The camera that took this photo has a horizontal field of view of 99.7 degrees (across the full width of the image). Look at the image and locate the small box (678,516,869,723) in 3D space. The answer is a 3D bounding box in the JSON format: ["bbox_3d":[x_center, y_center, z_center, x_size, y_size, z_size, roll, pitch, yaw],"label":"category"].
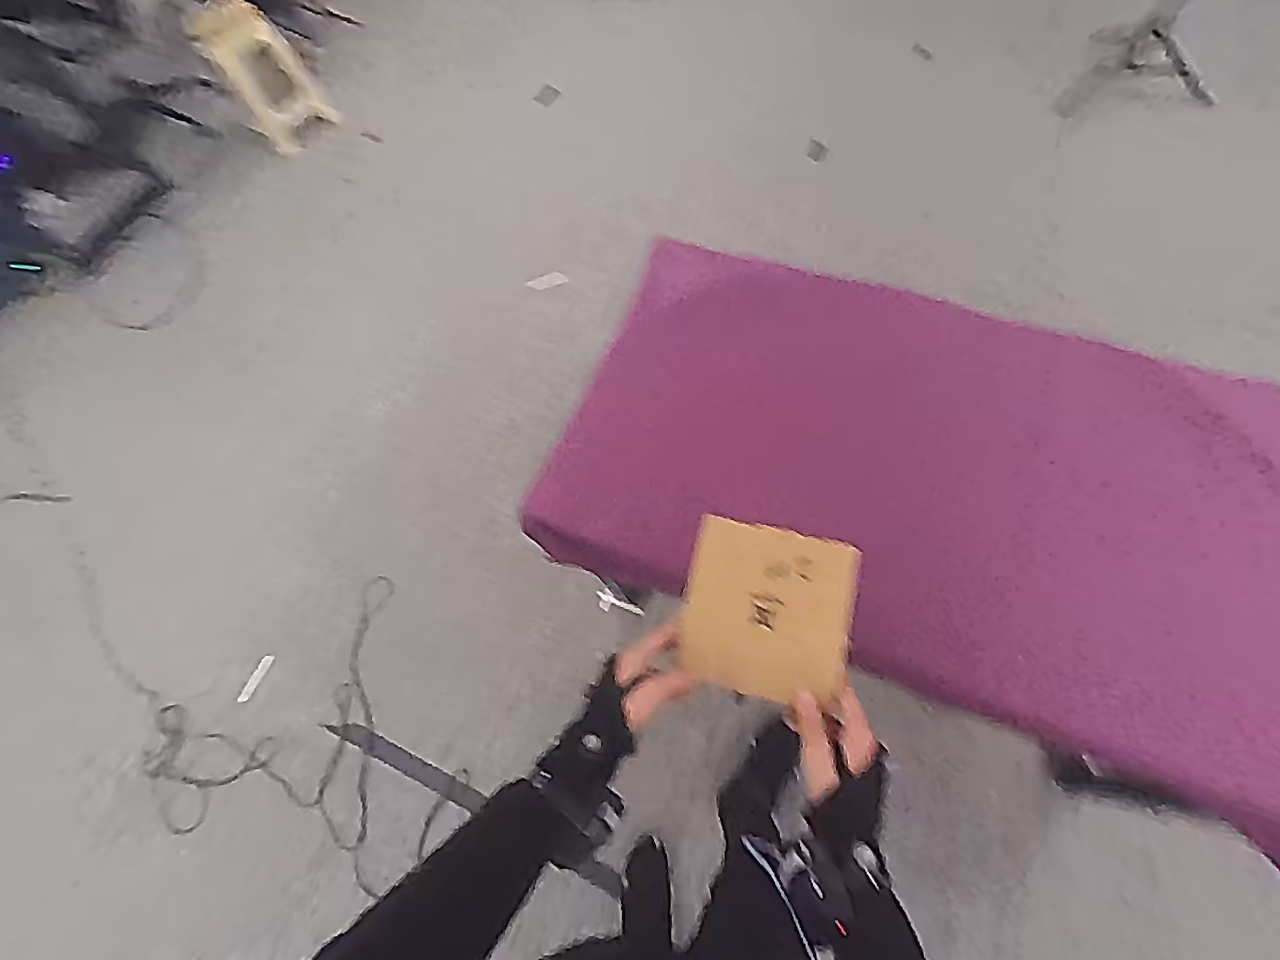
[{"bbox_3d":[0.150,0.162,0.631,0.168,0.176,0.179,13,73,12],"label":"small box"}]
